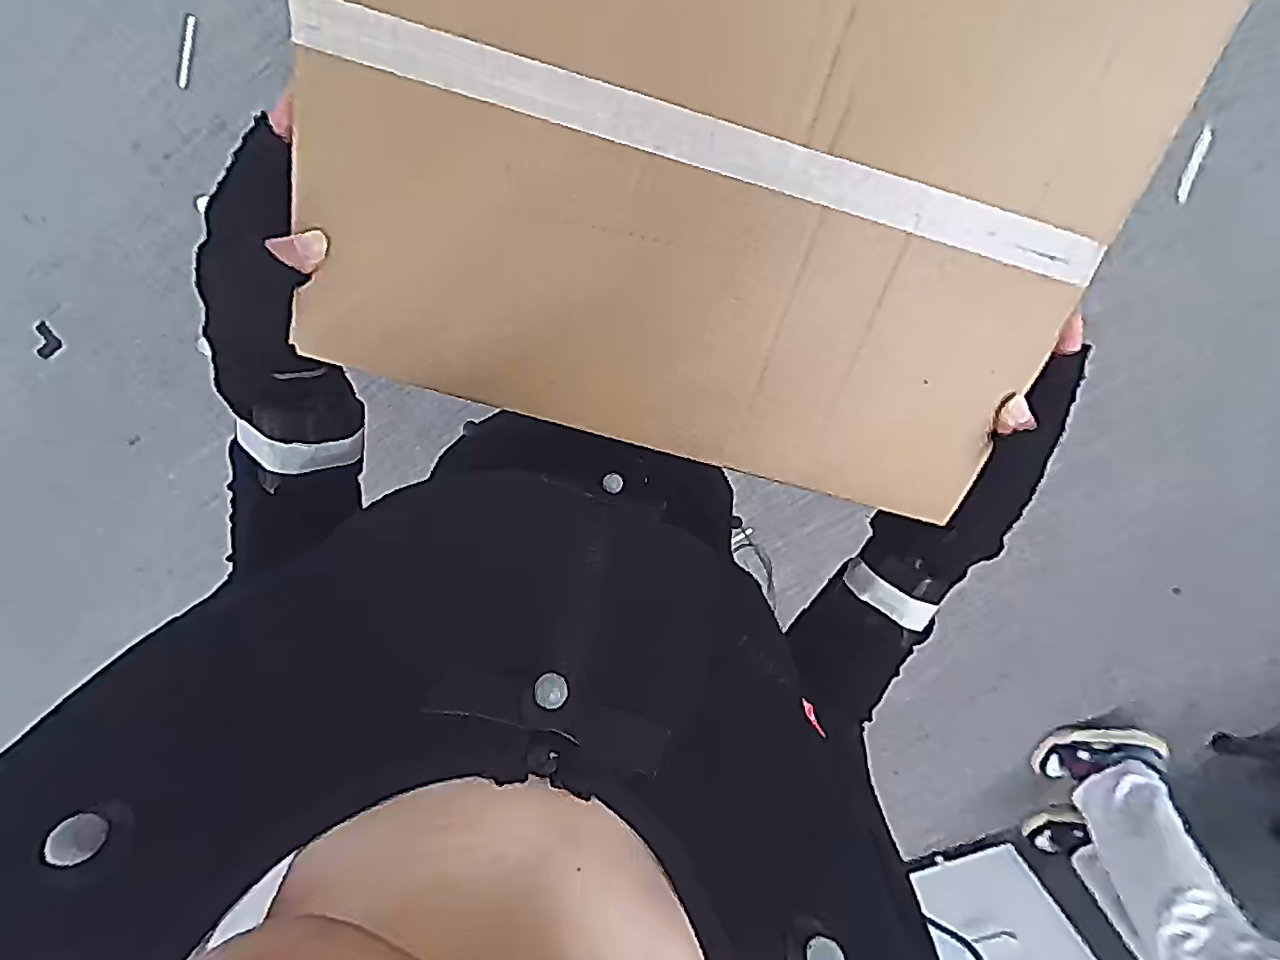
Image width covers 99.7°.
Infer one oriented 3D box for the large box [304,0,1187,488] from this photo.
[{"bbox_3d":[0.034,-0.230,0.410,0.408,0.320,0.320,13,114,-5],"label":"large box"}]
